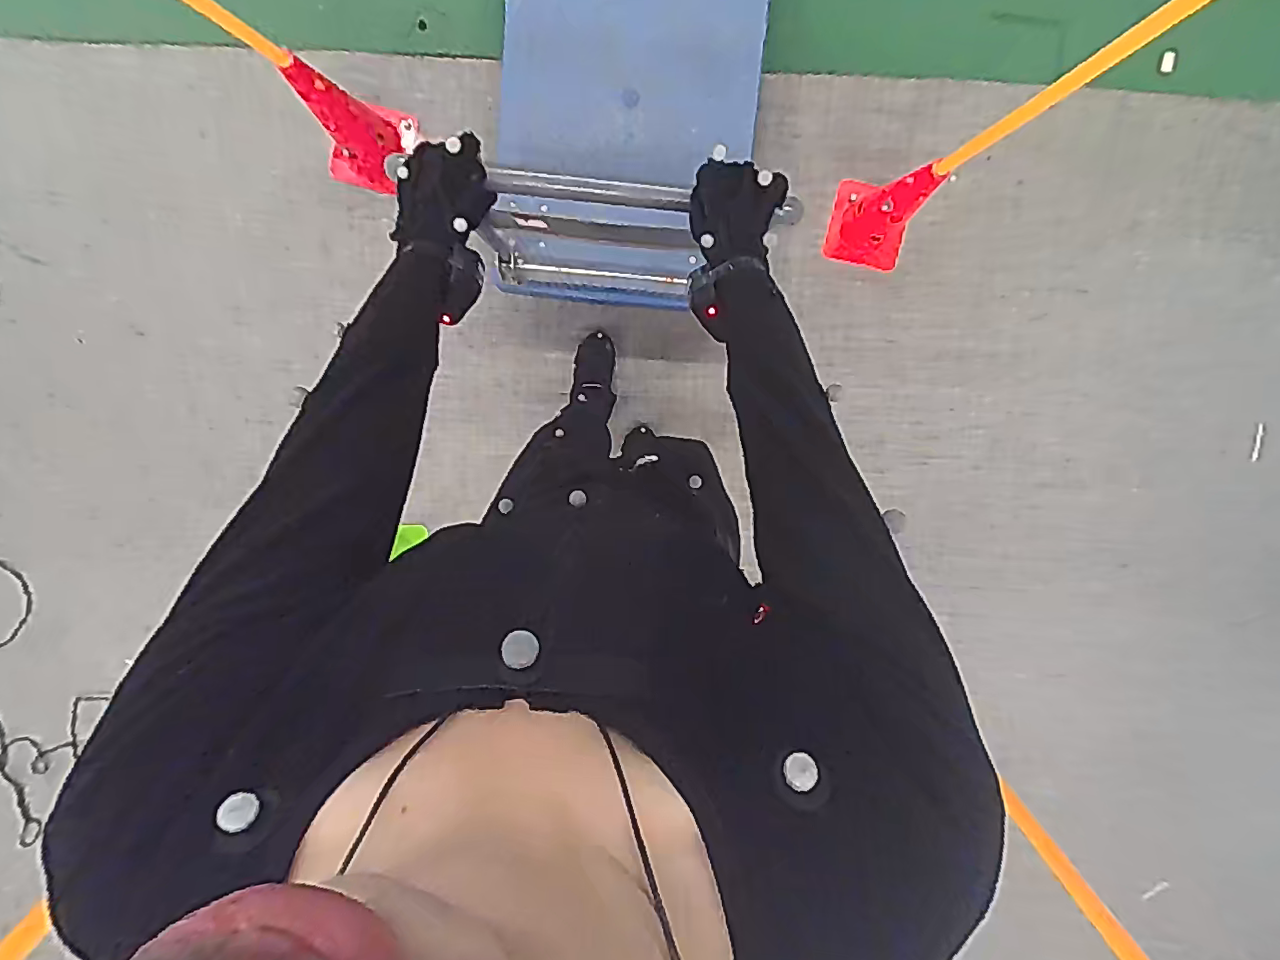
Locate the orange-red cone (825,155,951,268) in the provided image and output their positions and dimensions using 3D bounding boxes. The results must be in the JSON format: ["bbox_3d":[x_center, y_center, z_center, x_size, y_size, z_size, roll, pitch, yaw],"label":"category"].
[{"bbox_3d":[0.596,-0.644,1.238,0.198,0.360,0.199,13,98,-2],"label":"orange-red cone"}]
